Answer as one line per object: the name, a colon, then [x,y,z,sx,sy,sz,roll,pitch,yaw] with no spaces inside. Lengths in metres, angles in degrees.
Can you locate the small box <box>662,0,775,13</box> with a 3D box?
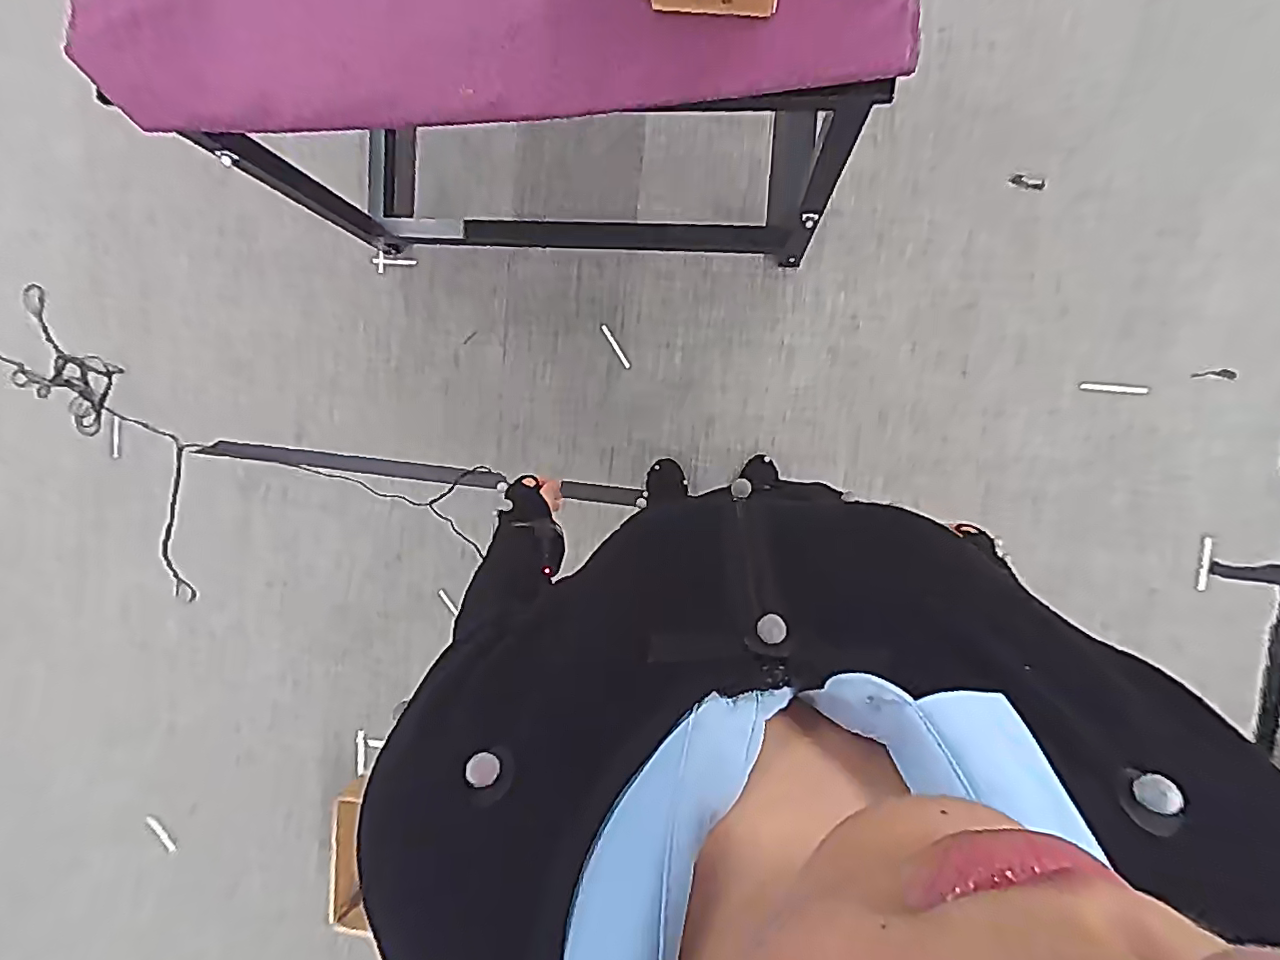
small box: [0.101,-0.712,0.637,0.168,0.176,0.179,10,94,7]
